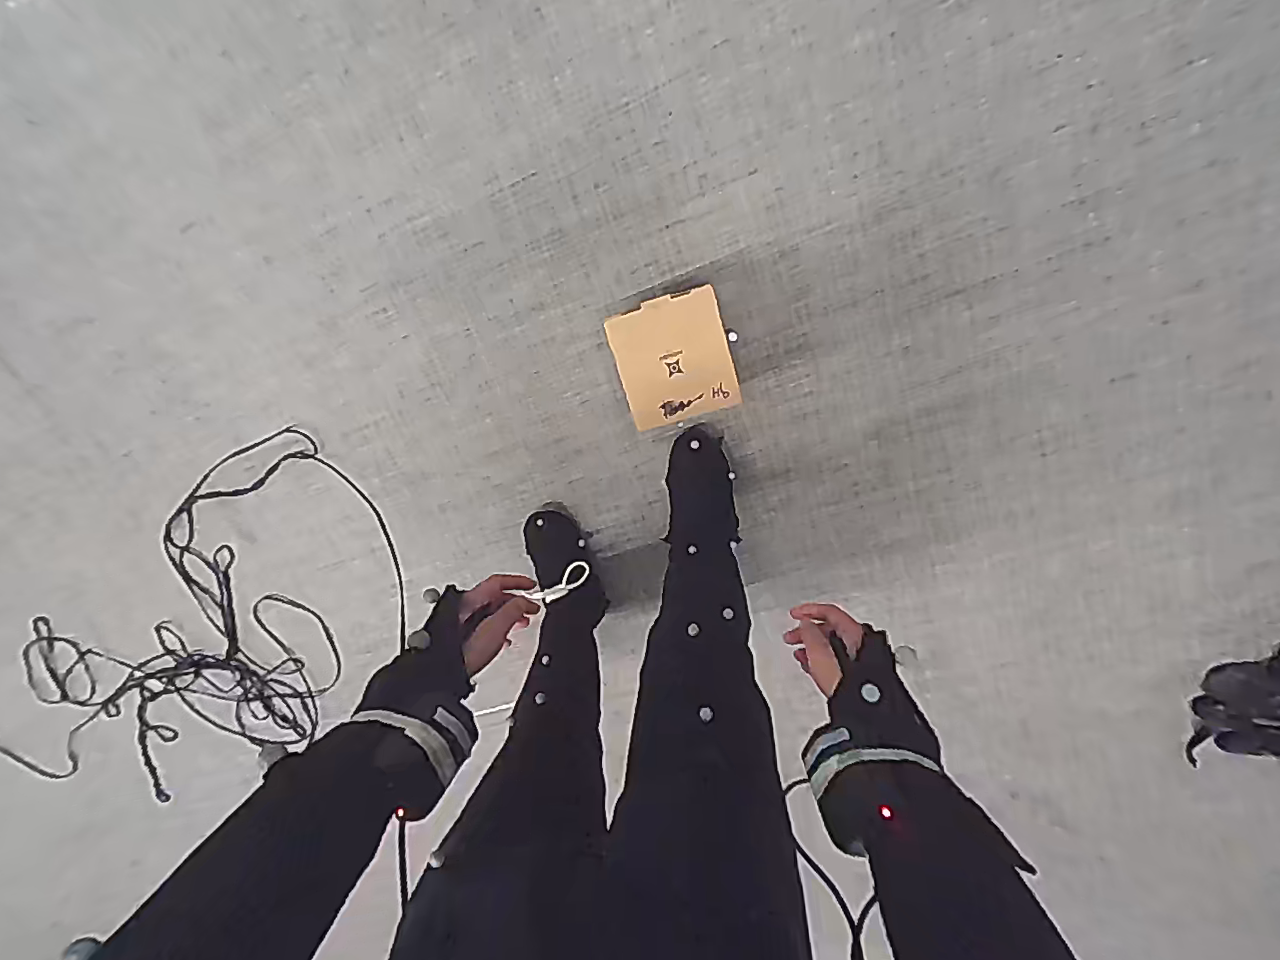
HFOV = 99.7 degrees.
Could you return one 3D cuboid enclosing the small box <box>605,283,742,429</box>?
[{"bbox_3d":[0.058,-0.198,0.861,0.168,0.176,0.179,-15,105,12],"label":"small box"}]
